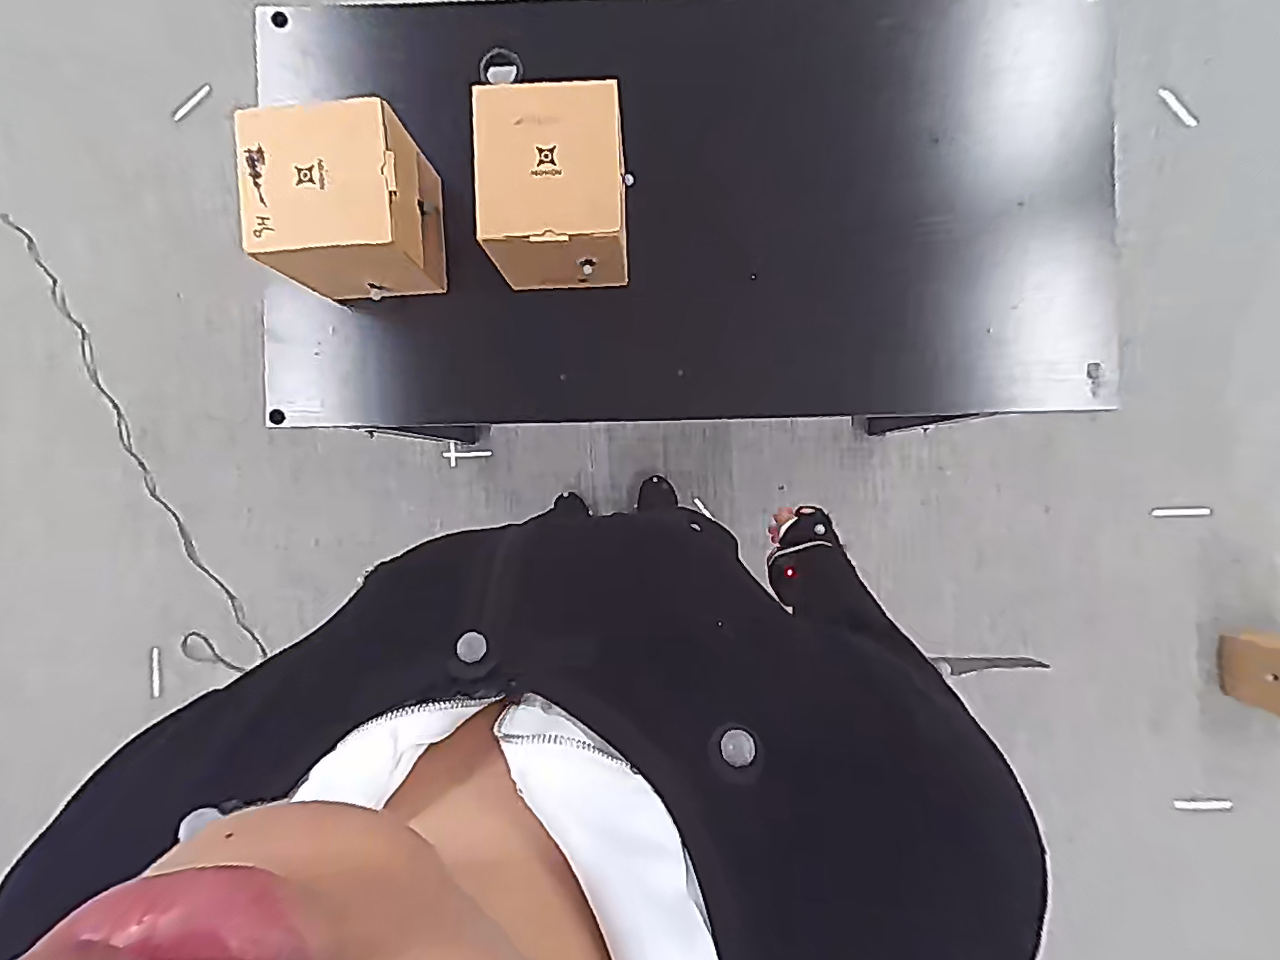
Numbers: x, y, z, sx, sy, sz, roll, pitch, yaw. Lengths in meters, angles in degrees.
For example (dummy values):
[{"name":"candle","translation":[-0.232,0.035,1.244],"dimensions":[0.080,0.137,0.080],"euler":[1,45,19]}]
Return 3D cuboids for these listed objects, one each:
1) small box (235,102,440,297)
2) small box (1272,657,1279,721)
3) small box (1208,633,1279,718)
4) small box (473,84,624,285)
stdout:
[{"name":"small box","translation":[-0.368,-0.344,0.692],"dimensions":[0.179,0.176,0.168],"euler":[-4,90,-1]},{"name":"small box","translation":[1.630,0.505,1.237],"dimensions":[0.179,0.176,0.168],"euler":[-1,90,2]},{"name":"small box","translation":[1.639,0.501,1.401],"dimensions":[0.168,0.176,0.179],"euler":[-1,91,2]},{"name":"small box","translation":[-0.106,-0.360,0.691],"dimensions":[0.168,0.176,0.179],"euler":[-2,89,0]}]
